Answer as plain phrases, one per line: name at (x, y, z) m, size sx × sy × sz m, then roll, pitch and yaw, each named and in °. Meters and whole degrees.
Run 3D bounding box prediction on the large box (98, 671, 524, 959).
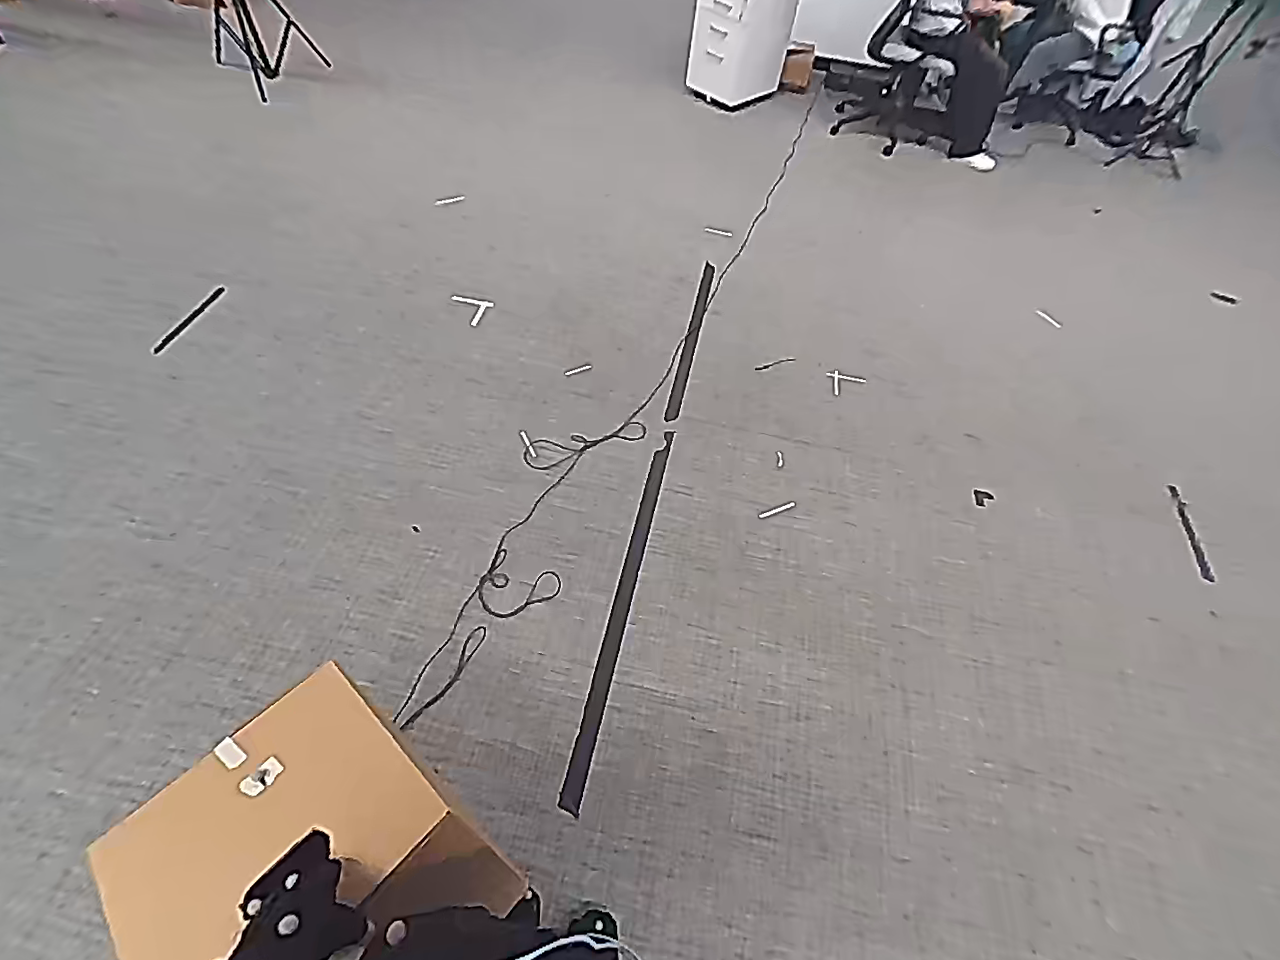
large box at (-0.426, 0.558, 0.780) m, size 0.320 × 0.408 × 0.320 m, roll 29°, pitch 55°, yaw 32°
